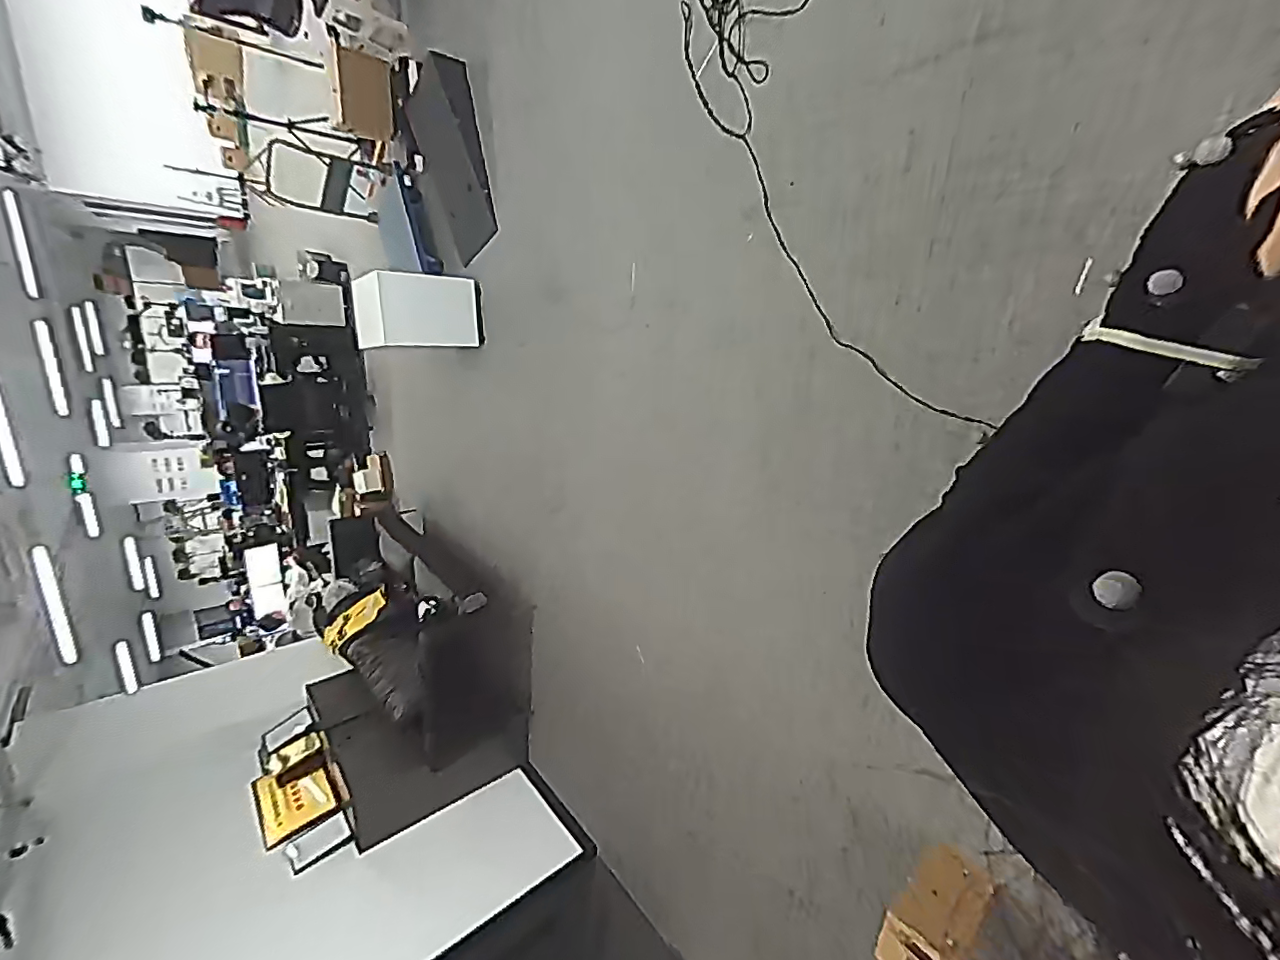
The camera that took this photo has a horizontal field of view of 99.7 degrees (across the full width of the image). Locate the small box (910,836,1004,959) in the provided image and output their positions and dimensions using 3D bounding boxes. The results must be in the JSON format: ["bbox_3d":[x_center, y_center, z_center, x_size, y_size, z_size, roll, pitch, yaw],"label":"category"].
[{"bbox_3d":[0.892,1.164,1.519,0.168,0.176,0.179,22,114,45],"label":"small box"}]
